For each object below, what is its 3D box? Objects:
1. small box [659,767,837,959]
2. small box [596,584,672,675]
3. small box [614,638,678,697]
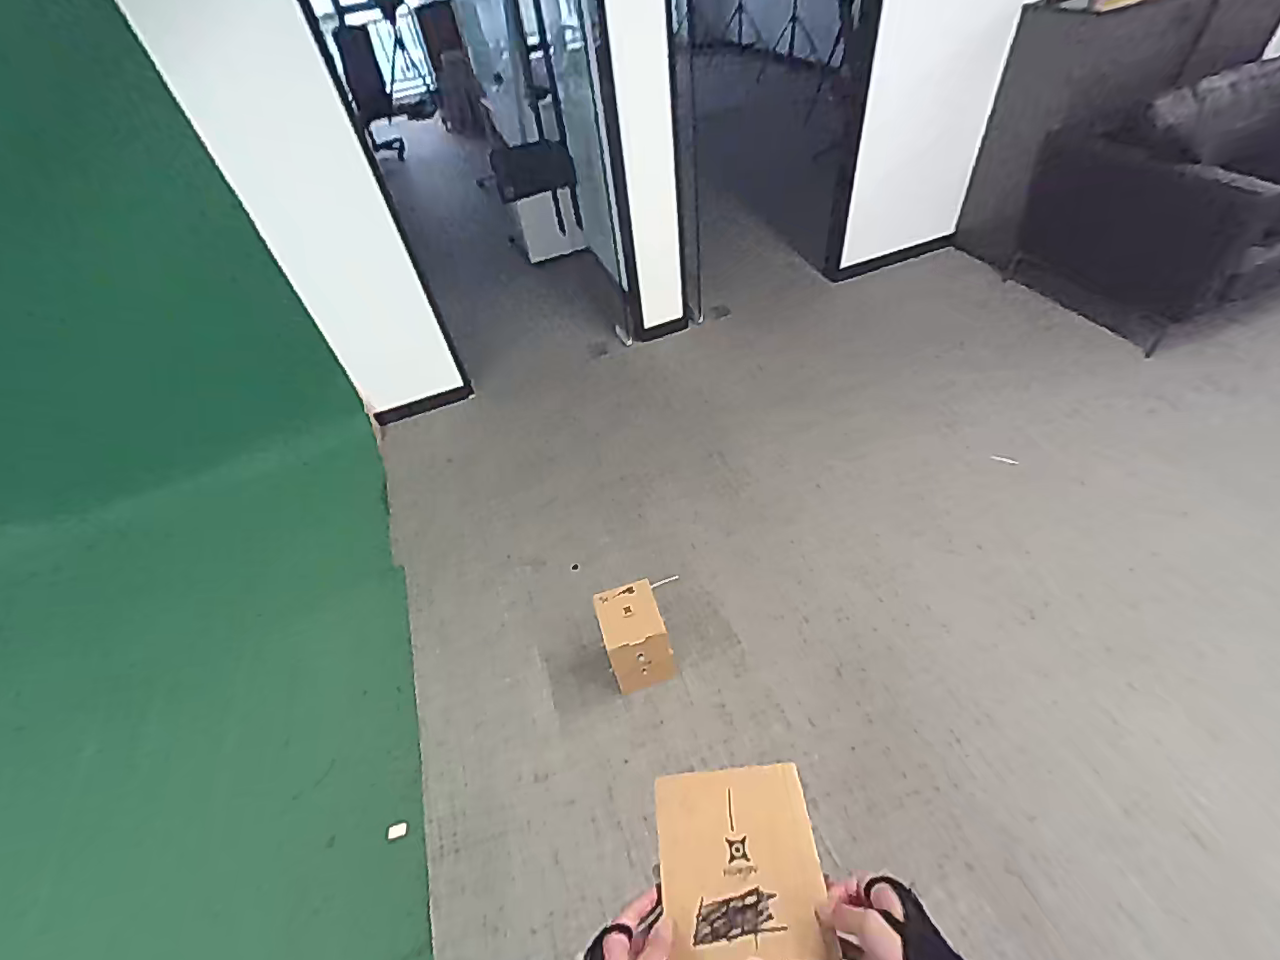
[{"bbox_3d":[0.116,0.460,0.632,0.168,0.176,0.179,-7,45,3],"label":"small box"},{"bbox_3d":[-0.014,0.426,1.519,0.168,0.176,0.179,-16,49,-6],"label":"small box"},{"bbox_3d":[0.007,0.533,1.641,0.179,0.176,0.168,-15,47,-6],"label":"small box"}]
